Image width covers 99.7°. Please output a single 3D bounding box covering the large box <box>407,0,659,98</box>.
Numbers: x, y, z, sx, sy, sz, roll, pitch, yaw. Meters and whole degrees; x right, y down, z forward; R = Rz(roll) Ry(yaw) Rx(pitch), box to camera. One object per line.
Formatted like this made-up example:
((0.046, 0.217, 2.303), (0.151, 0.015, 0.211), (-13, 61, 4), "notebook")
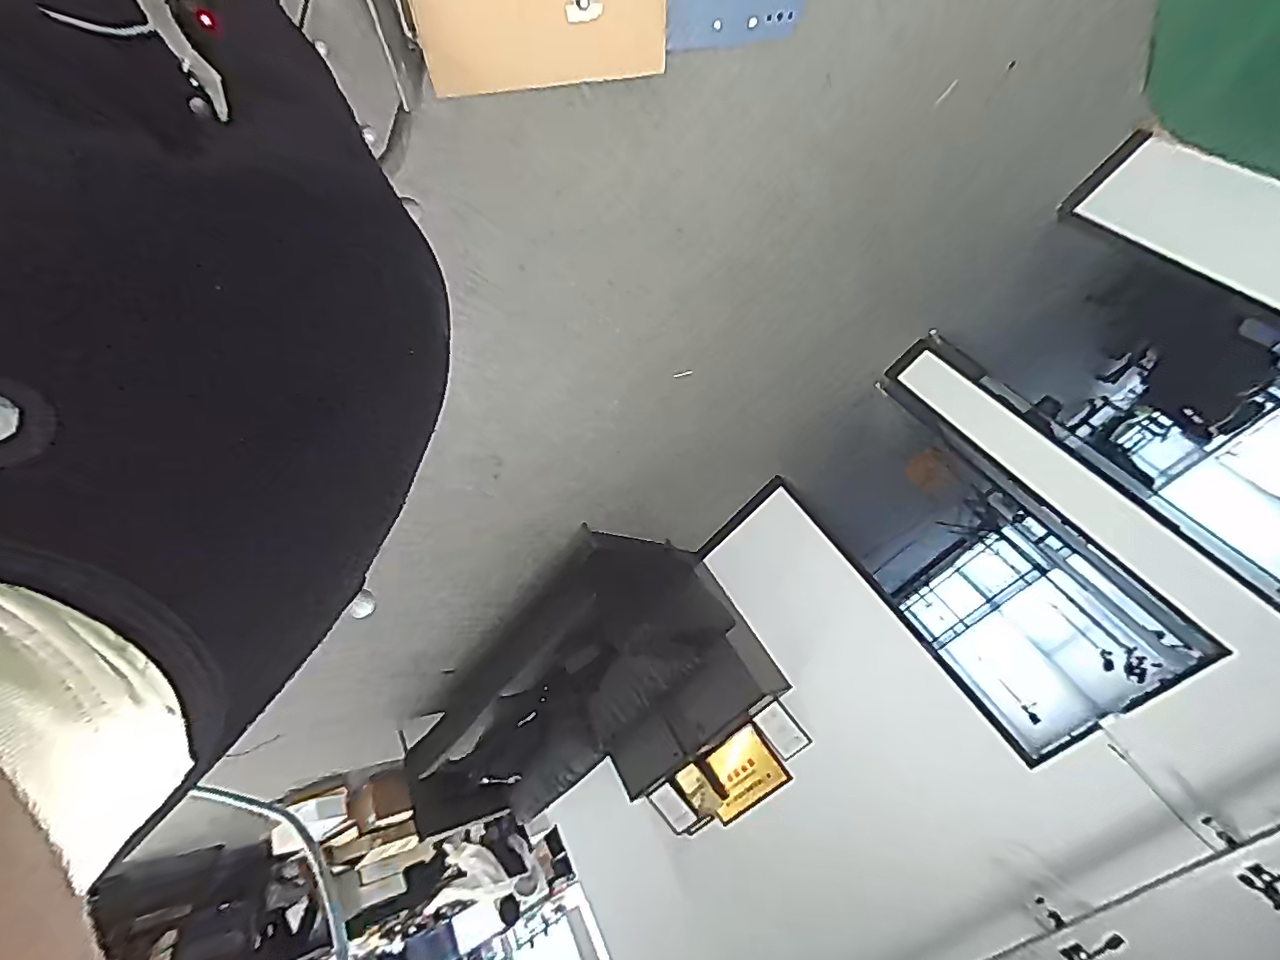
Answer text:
((-0.200, -0.901, 0.916), (0.408, 0.320, 0.320), (-11, 144, -7), "large box")
